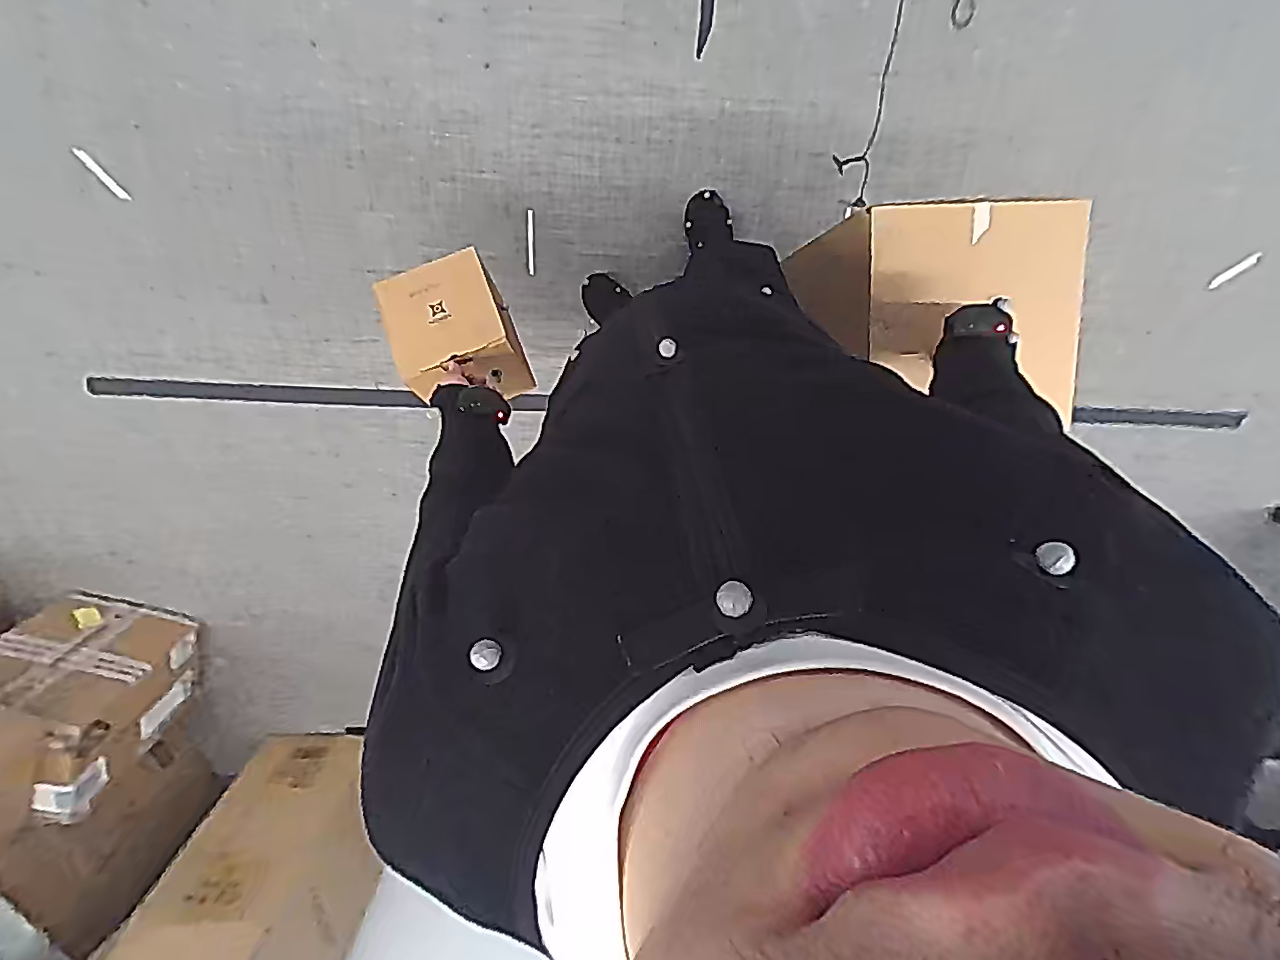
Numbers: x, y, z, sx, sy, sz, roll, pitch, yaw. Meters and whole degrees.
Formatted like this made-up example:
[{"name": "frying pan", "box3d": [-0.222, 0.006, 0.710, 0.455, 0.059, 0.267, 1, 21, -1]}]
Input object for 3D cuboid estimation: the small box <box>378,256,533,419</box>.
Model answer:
[{"name": "small box", "box3d": [-0.290, -0.218, 0.882, 0.168, 0.176, 0.179, -22, 72, -3]}]
